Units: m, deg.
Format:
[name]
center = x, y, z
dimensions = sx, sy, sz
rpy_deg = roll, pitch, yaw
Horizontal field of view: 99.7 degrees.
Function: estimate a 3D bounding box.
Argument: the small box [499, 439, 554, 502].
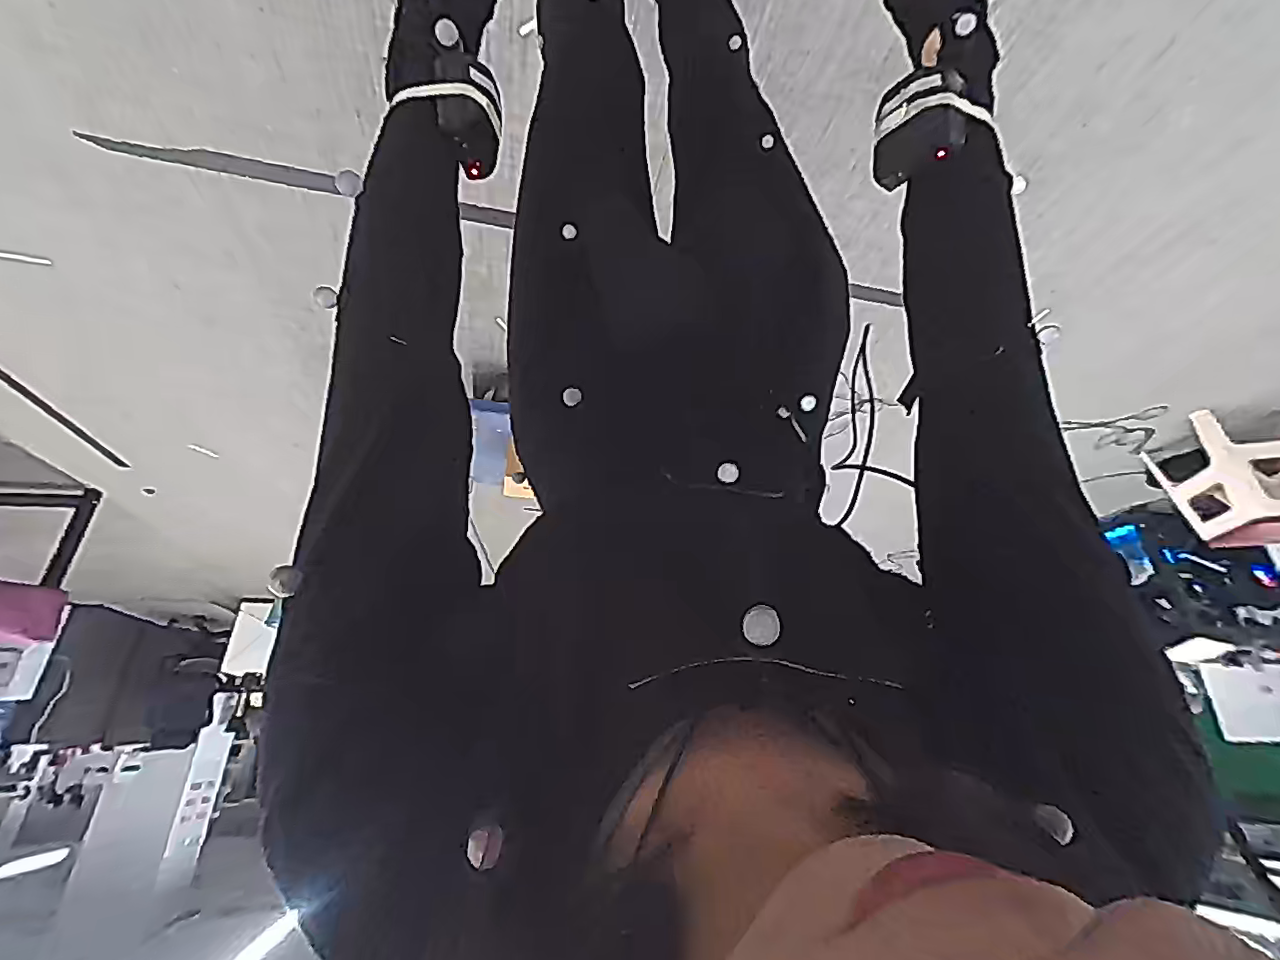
[small box]
center = -0.411, -0.035, 1.964
dimensions = 0.179, 0.176, 0.168
rpy_deg = 7, 153, -14
